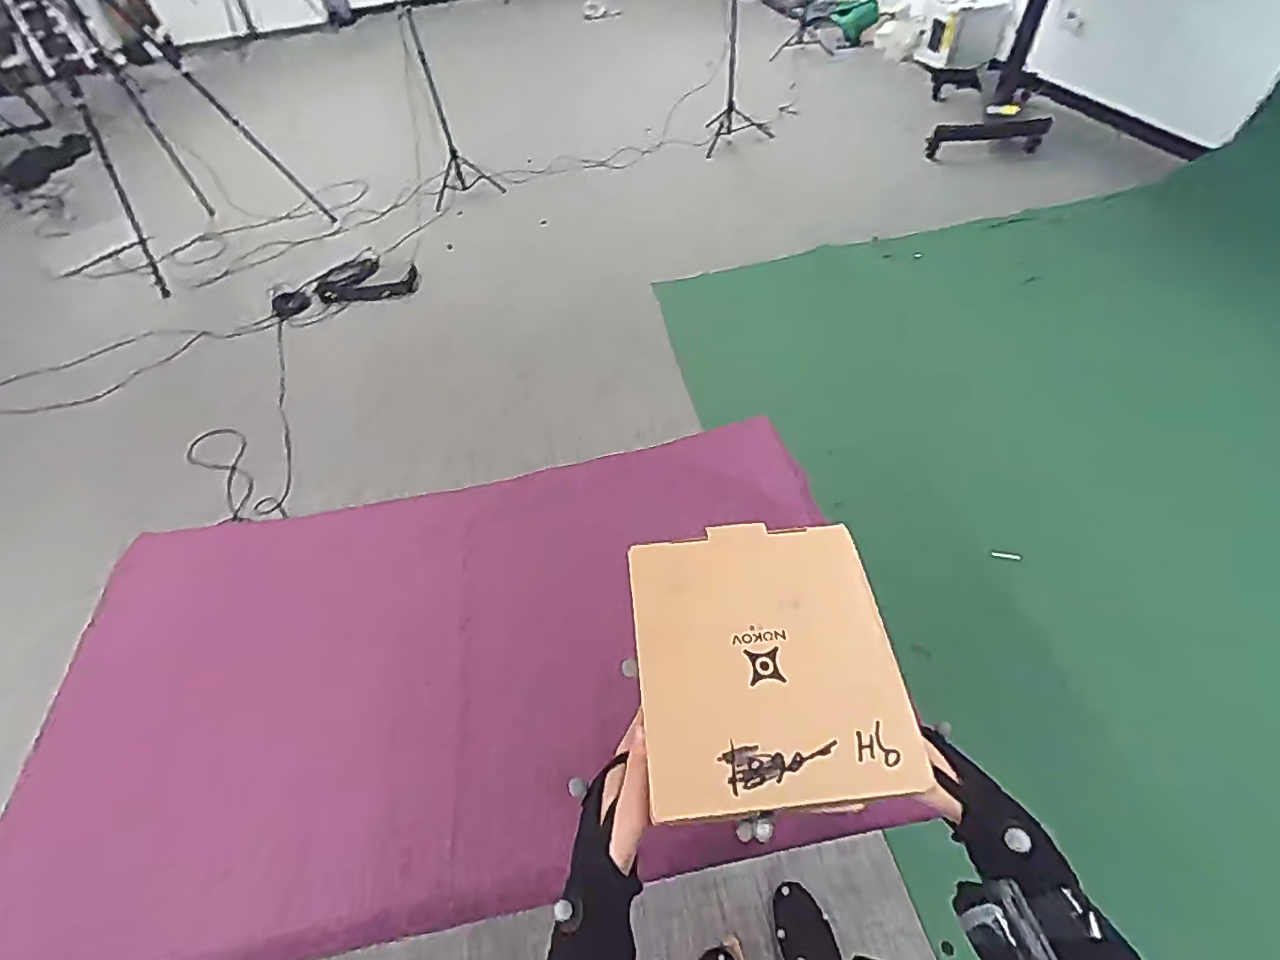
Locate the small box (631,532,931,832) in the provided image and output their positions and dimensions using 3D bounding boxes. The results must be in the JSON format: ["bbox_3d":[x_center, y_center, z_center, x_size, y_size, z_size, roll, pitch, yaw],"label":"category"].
[{"bbox_3d":[0.084,0.162,0.422,0.168,0.176,0.179,-7,56,1],"label":"small box"}]
